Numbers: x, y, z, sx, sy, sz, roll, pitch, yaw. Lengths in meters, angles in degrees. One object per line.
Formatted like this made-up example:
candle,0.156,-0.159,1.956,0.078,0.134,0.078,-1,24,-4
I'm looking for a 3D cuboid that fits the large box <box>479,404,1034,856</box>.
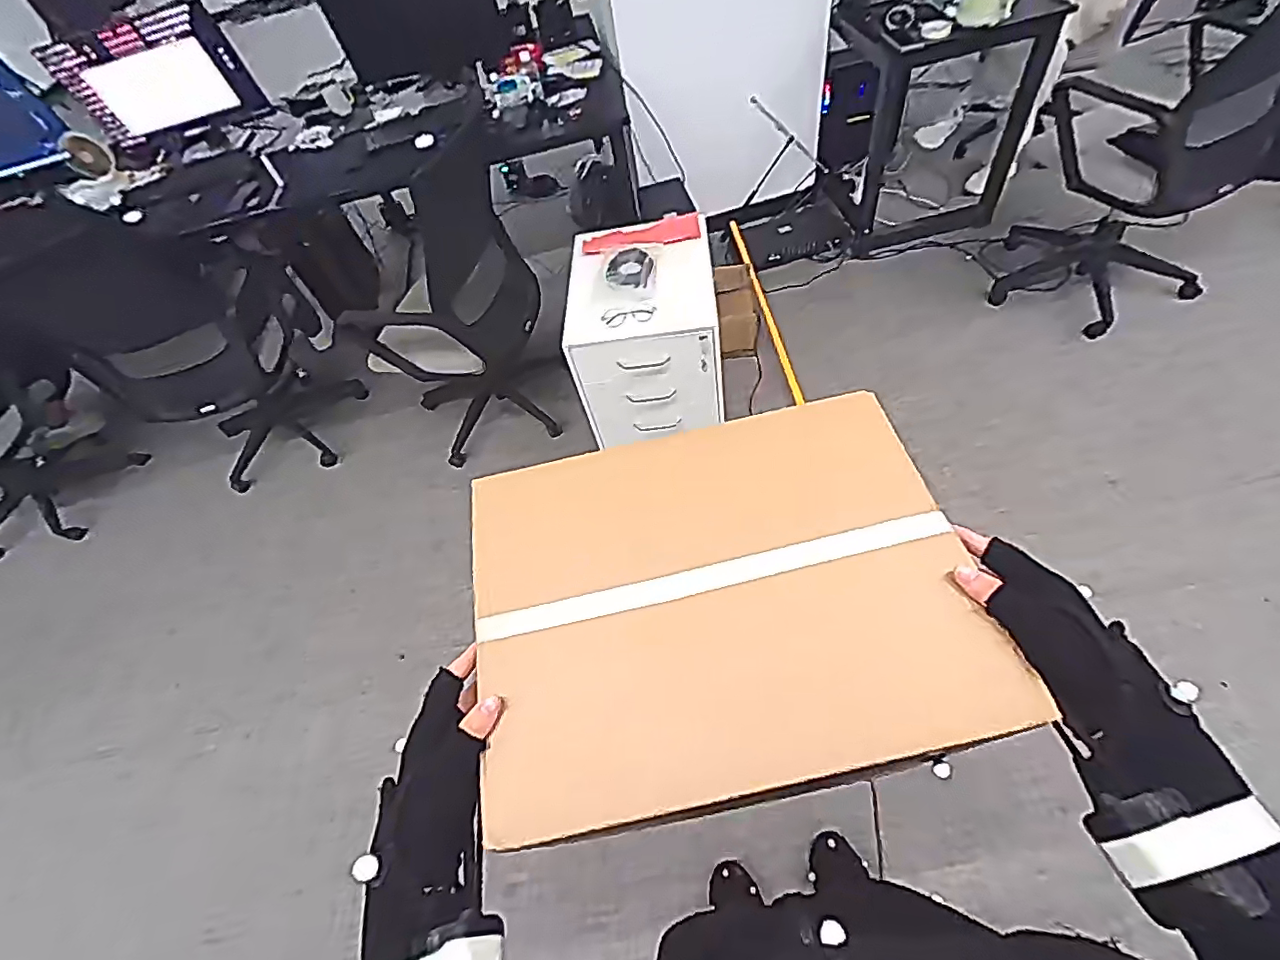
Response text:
large box,0.080,0.170,0.586,0.408,0.320,0.320,-13,56,-1
